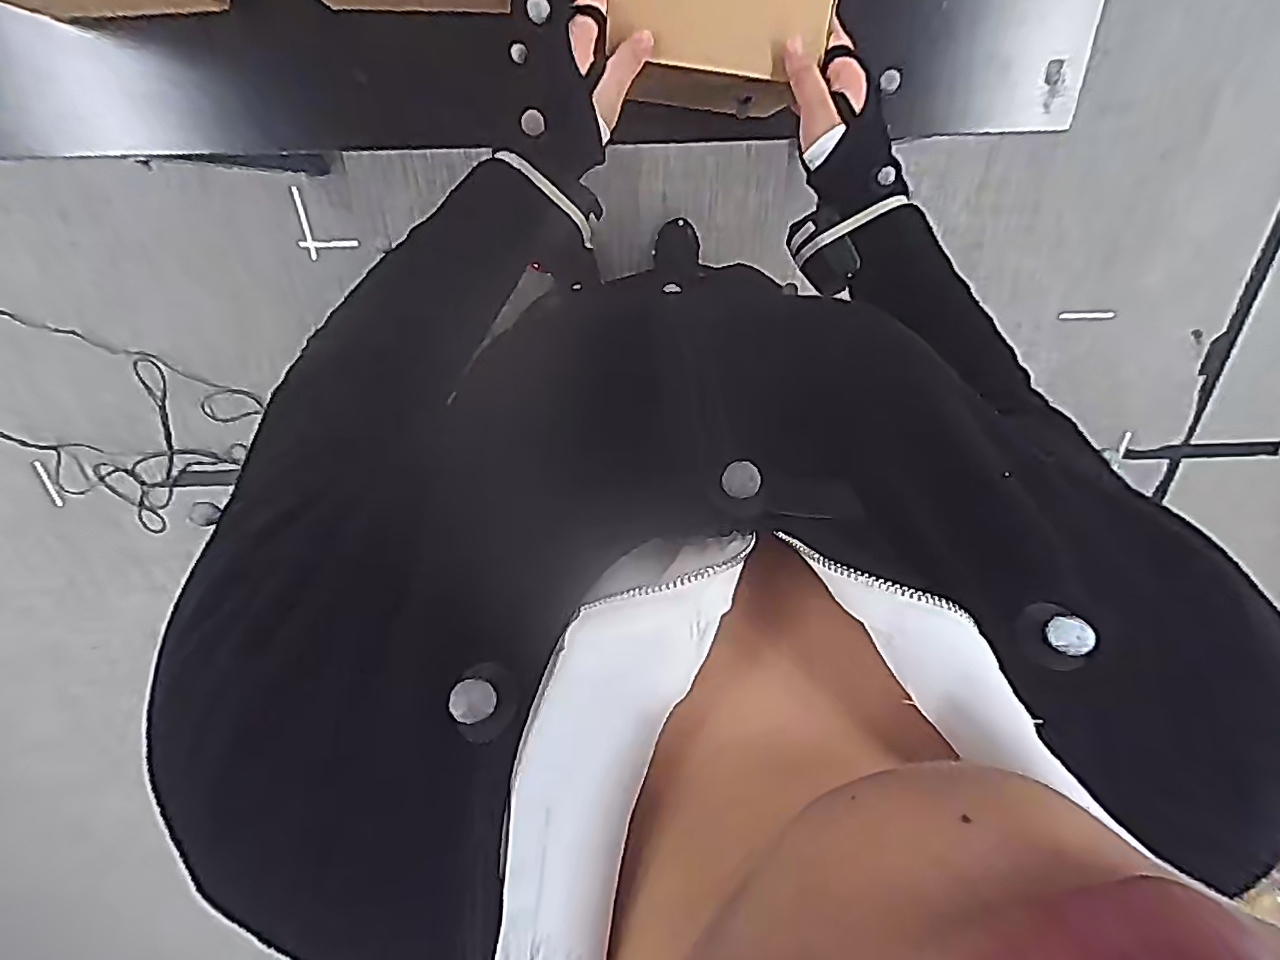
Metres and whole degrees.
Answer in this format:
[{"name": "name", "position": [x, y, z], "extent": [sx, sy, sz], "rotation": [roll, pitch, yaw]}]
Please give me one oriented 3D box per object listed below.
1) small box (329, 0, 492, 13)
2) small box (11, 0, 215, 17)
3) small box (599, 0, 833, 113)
[{"name": "small box", "position": [-0.211, -0.501, 0.427], "extent": [0.179, 0.176, 0.168], "rotation": [-2, 116, -3]}, {"name": "small box", "position": [-0.484, -0.487, 0.416], "extent": [0.179, 0.176, 0.168], "rotation": [-5, 117, -1]}, {"name": "small box", "position": [0.058, -0.429, 0.461], "extent": [0.179, 0.176, 0.168], "rotation": [3, 116, -4]}]
